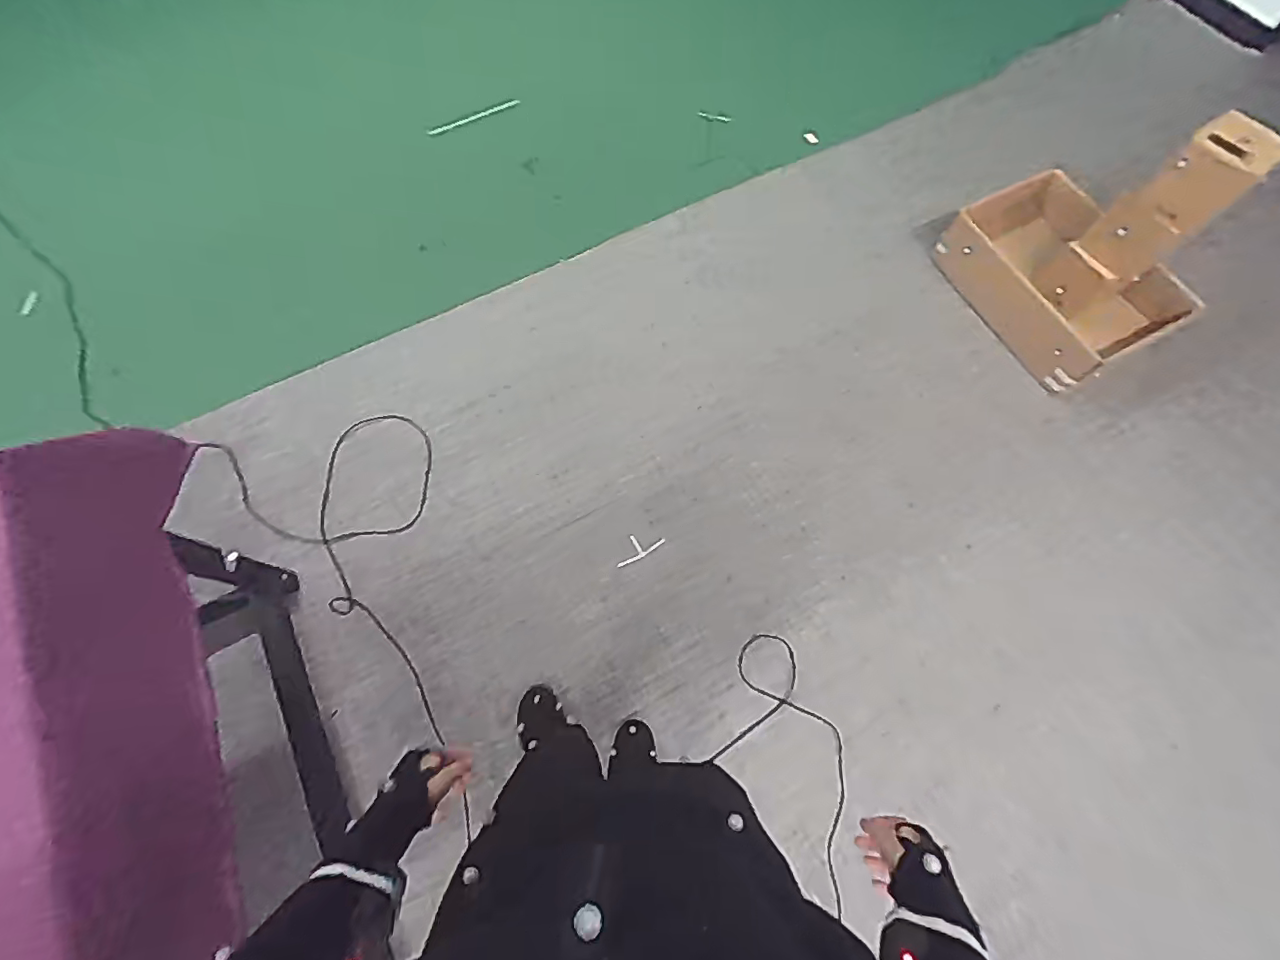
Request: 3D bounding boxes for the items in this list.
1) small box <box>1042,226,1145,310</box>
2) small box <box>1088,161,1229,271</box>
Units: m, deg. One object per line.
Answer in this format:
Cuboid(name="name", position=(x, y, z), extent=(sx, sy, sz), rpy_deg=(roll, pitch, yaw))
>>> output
Cuboid(name="small box", position=(1.354, -0.640, 1.599), extent=(0.179, 0.176, 0.168), rpy_deg=(-26, 69, -7))
Cuboid(name="small box", position=(1.370, -0.701, 1.446), extent=(0.168, 0.176, 0.179), rpy_deg=(-30, 70, -9))
